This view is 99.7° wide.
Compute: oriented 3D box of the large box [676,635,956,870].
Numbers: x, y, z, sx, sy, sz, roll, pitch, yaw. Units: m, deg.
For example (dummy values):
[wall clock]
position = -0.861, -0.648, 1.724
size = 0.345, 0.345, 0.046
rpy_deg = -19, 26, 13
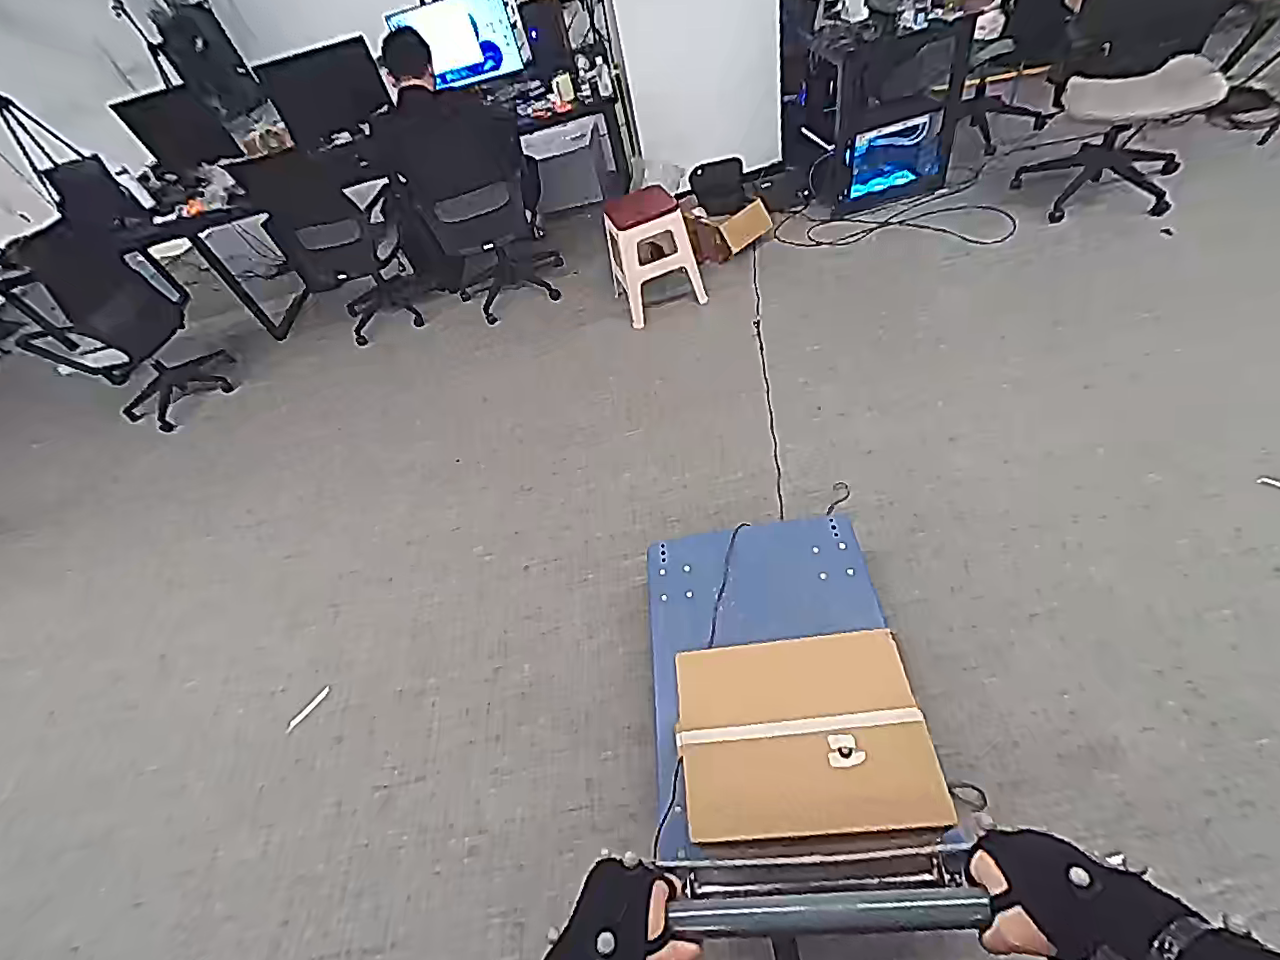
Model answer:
[large box]
position = 0.296, 0.526, 1.027
size = 0.408, 0.320, 0.320
rpy_deg = -9, 50, 8
